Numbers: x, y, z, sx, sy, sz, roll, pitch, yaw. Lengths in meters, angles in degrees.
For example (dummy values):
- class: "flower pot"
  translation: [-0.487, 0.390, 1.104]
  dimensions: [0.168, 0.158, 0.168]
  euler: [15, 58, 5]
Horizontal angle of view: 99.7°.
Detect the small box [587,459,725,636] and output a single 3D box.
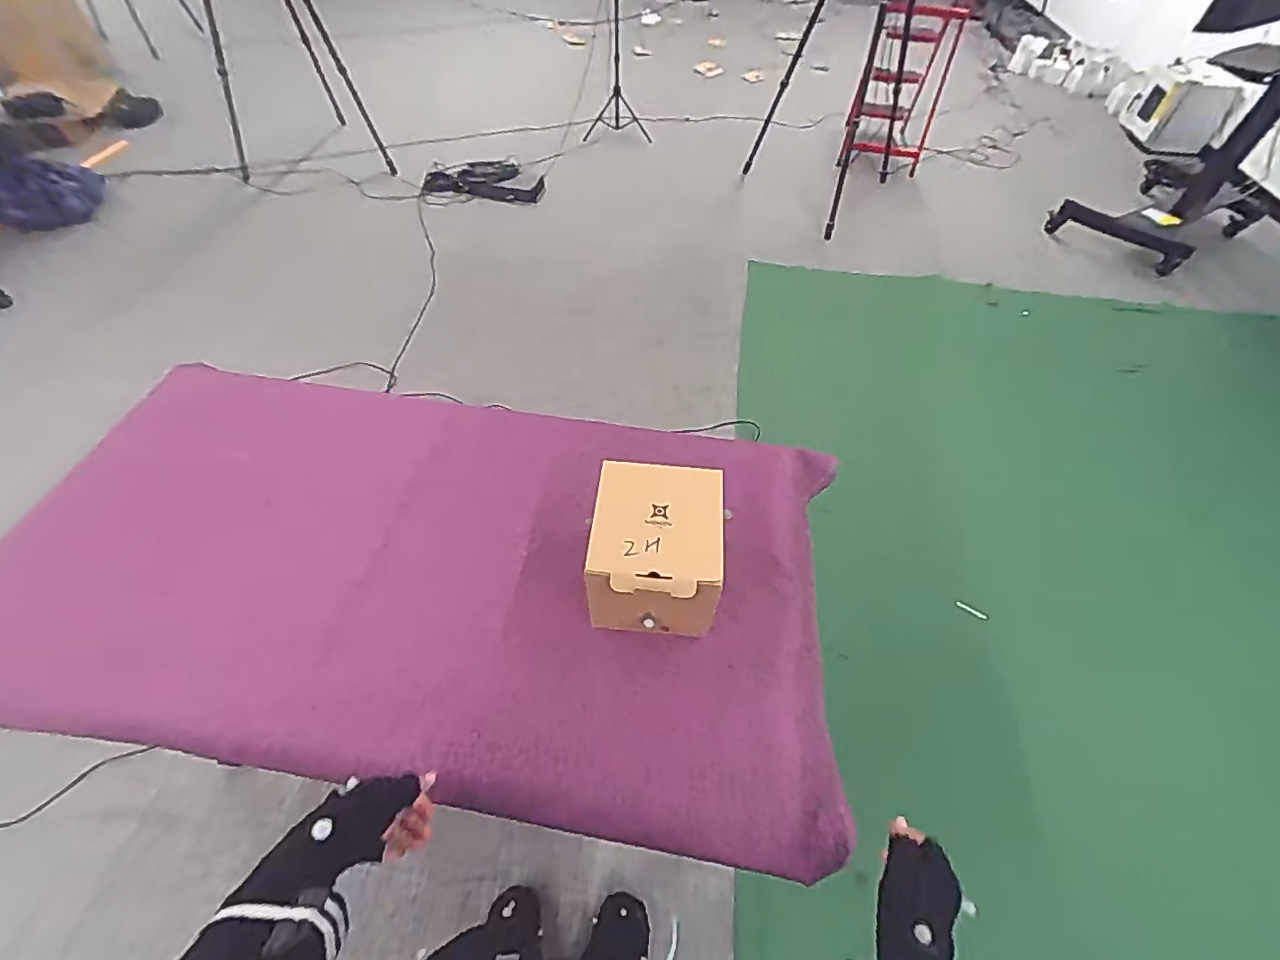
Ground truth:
- class: "small box"
  translation: [0.023, 0.095, 0.749]
  dimensions: [0.168, 0.176, 0.179]
  euler: [5, 53, 2]
